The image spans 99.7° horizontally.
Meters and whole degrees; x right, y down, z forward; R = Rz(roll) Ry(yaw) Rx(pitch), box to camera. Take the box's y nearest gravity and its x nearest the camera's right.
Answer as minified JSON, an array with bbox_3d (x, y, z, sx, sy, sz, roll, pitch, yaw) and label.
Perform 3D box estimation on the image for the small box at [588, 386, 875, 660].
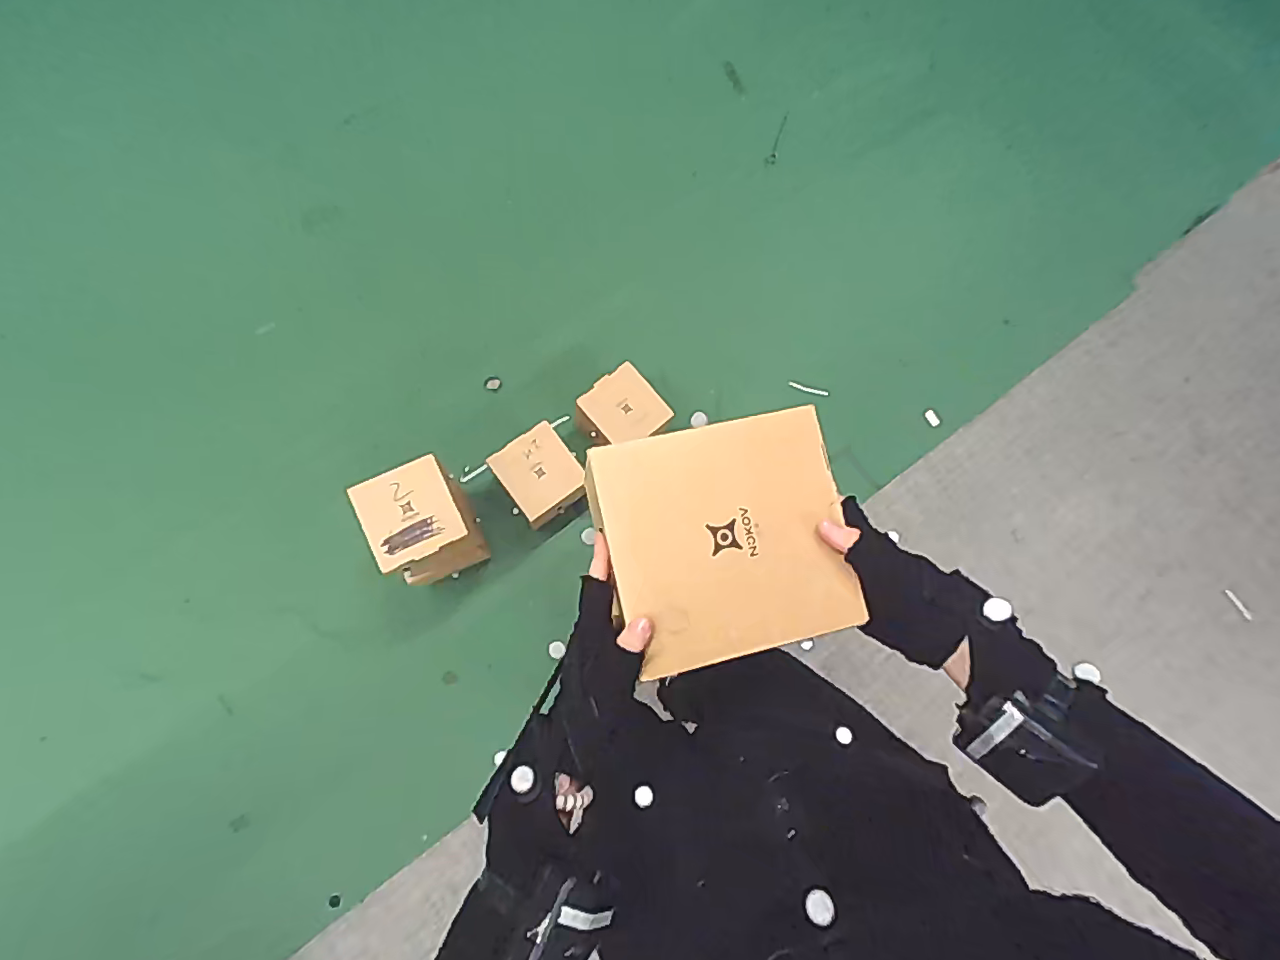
[{"bbox_3d":[0.056,0.037,0.456,0.179,0.176,0.168,-12,84,-9],"label":"small box"}]

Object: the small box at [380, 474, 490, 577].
[{"bbox_3d":[-0.454,0.109,1.220,0.168,0.176,0.179,-23,84,-11],"label":"small box"}]

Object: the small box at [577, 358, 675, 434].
[{"bbox_3d":[-0.044,-0.162,1.337,0.168,0.176,0.179,-39,86,-13],"label":"small box"}]

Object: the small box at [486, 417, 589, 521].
[{"bbox_3d":[-0.236,-0.017,1.278,0.168,0.176,0.179,-36,85,-14],"label":"small box"}]
